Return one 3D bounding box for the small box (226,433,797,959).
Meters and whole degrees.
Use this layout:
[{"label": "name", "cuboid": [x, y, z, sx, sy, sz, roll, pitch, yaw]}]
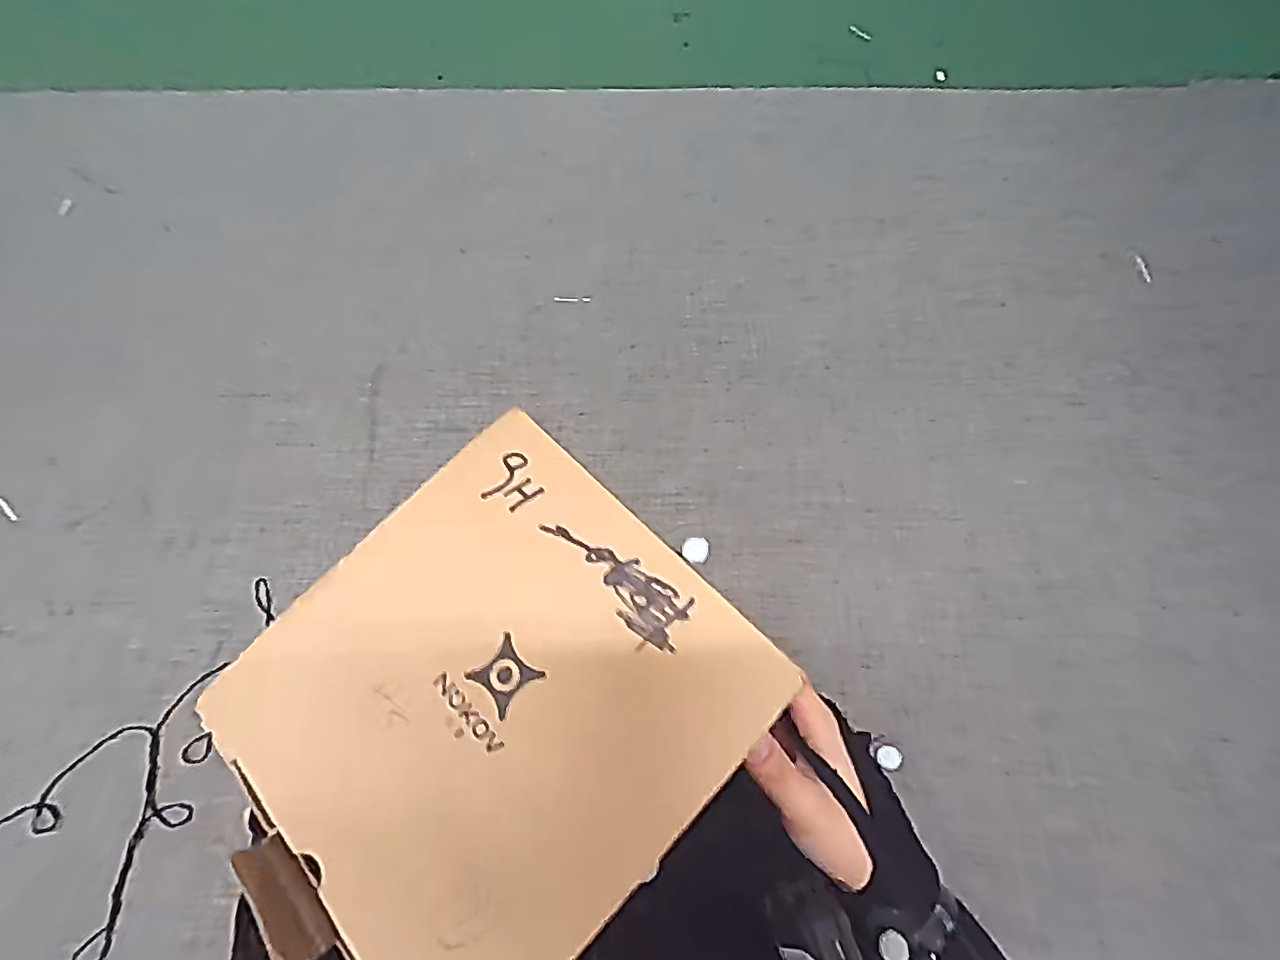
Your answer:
[{"label": "small box", "cuboid": [-0.046, 0.114, 0.286, 0.168, 0.176, 0.179, 42, 80, 16]}]
